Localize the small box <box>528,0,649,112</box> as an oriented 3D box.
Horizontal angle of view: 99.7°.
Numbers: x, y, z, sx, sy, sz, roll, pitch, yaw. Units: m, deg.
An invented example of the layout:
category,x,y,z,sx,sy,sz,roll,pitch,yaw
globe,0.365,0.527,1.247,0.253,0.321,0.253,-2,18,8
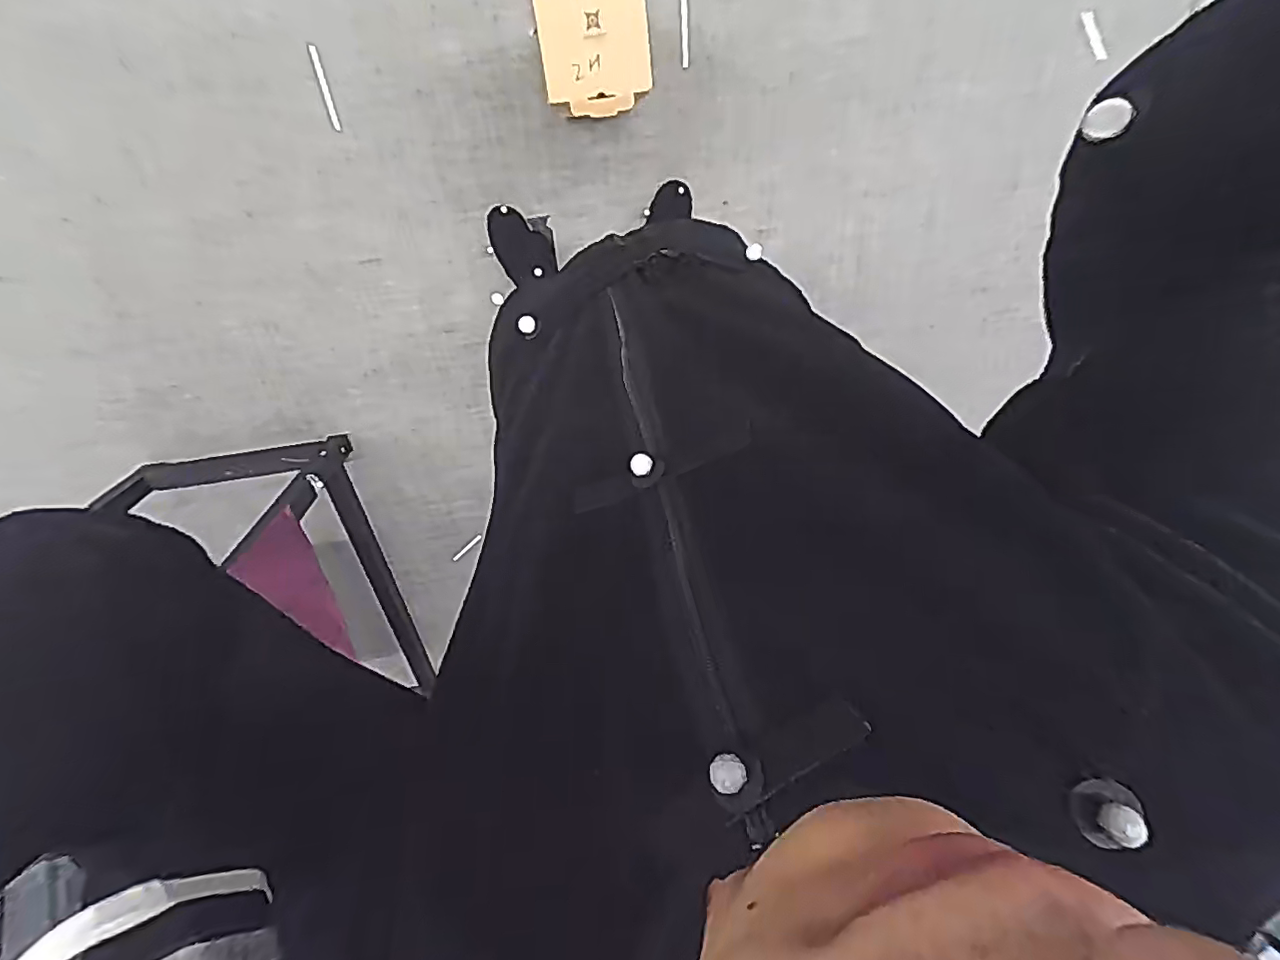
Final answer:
category,x,y,z,sx,sy,sz,roll,pitch,yaw
small box,-0.085,-0.708,0.863,0.168,0.176,0.179,-10,121,-4
